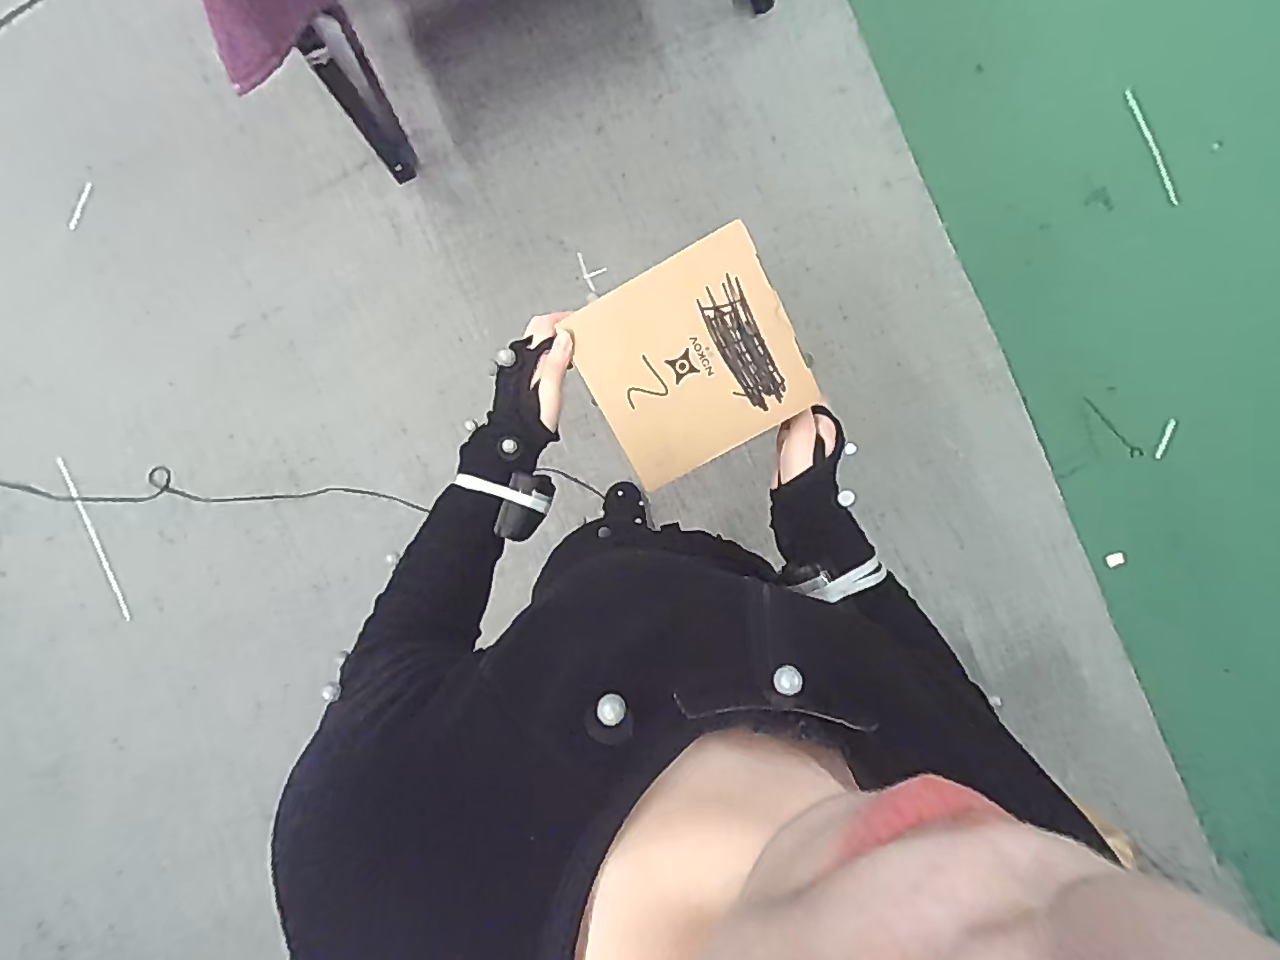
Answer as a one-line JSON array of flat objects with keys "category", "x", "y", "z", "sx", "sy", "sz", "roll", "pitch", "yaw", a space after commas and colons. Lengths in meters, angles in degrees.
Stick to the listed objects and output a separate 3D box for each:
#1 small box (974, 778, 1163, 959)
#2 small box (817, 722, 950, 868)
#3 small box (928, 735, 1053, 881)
[{"category": "small box", "x": 0.744, "y": 0.670, "z": 0.957, "sx": 0.179, "sy": 0.176, "sz": 0.168, "roll": -21, "pitch": 91, "yaw": -2}, {"category": "small box", "x": 0.485, "y": 0.636, "z": 1.113, "sx": 0.179, "sy": 0.176, "sz": 0.168, "roll": -23, "pitch": 91, "yaw": -2}, {"category": "small box", "x": 0.742, "y": 0.672, "z": 1.123, "sx": 0.168, "sy": 0.176, "sz": 0.179, "roll": -21, "pitch": 92, "yaw": -2}]
